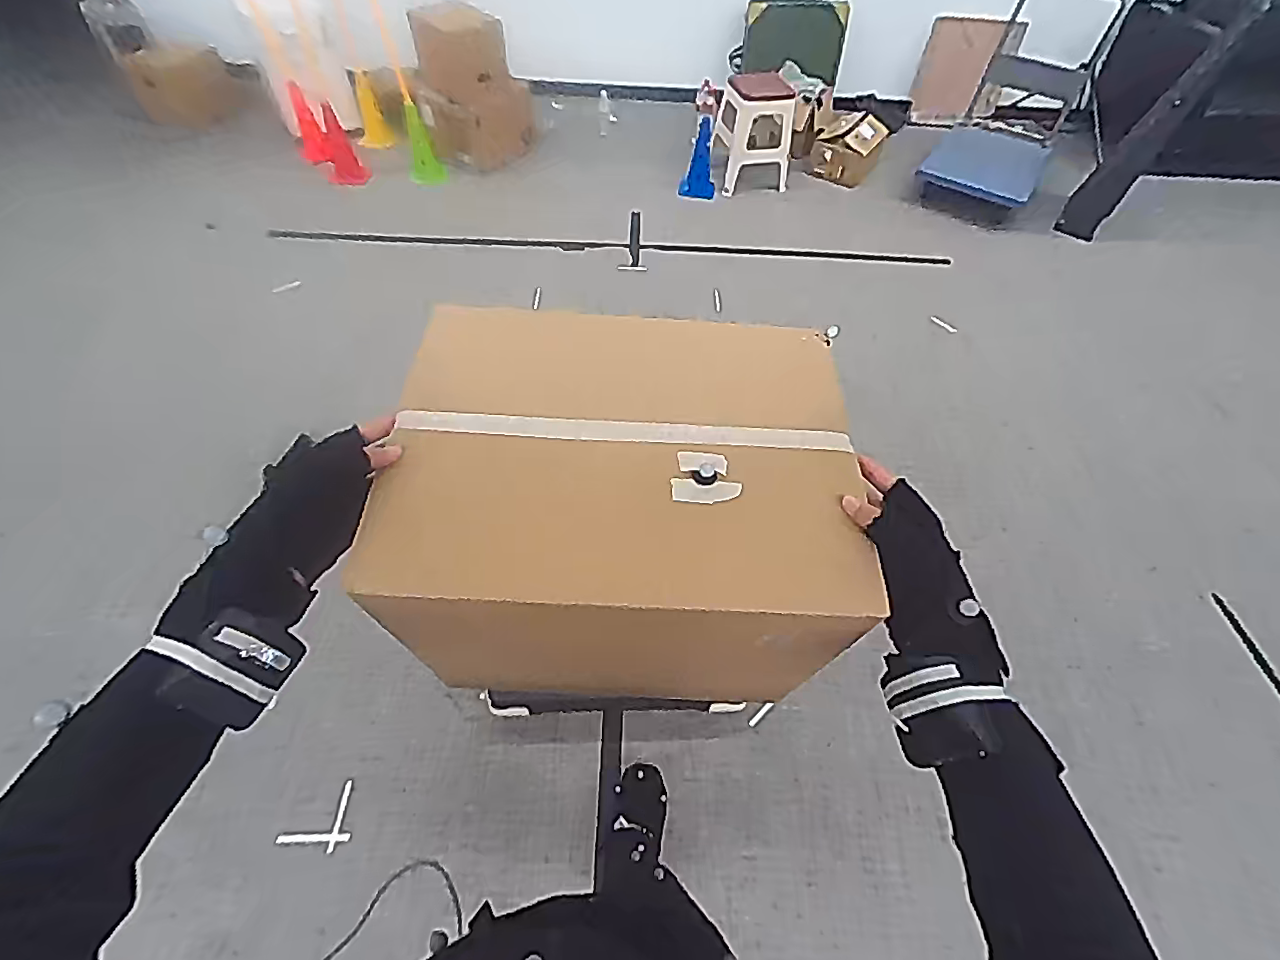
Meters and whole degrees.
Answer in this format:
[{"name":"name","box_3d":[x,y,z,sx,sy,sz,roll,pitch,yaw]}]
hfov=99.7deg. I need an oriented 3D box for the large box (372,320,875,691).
[{"name":"large box","box_3d":[-0.017,0.047,0.624,0.408,0.320,0.320,3,57,-2]}]
